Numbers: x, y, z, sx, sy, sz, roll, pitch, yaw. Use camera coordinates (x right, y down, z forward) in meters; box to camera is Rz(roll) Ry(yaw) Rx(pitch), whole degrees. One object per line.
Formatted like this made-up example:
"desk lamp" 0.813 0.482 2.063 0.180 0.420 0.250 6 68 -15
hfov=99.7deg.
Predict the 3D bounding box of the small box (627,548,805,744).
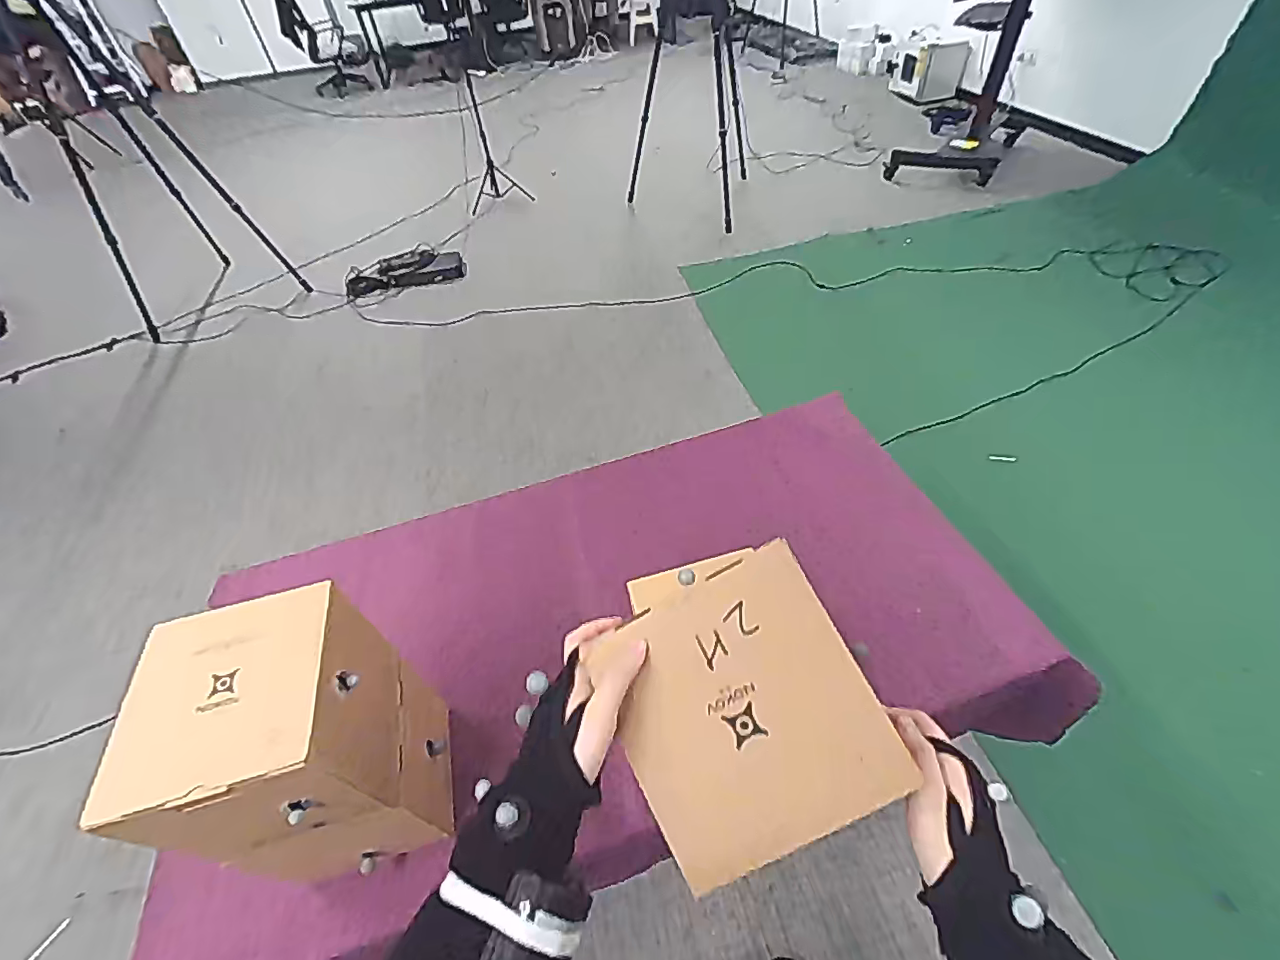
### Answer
"small box" 0.093 0.221 0.710 0.179 0.176 0.168 -14 49 -7

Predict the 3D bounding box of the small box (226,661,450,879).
"small box" -0.337 0.348 0.648 0.179 0.176 0.168 -15 48 -7

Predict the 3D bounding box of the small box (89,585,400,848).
"small box" -0.351 0.236 0.529 0.168 0.176 0.179 -14 48 -6
